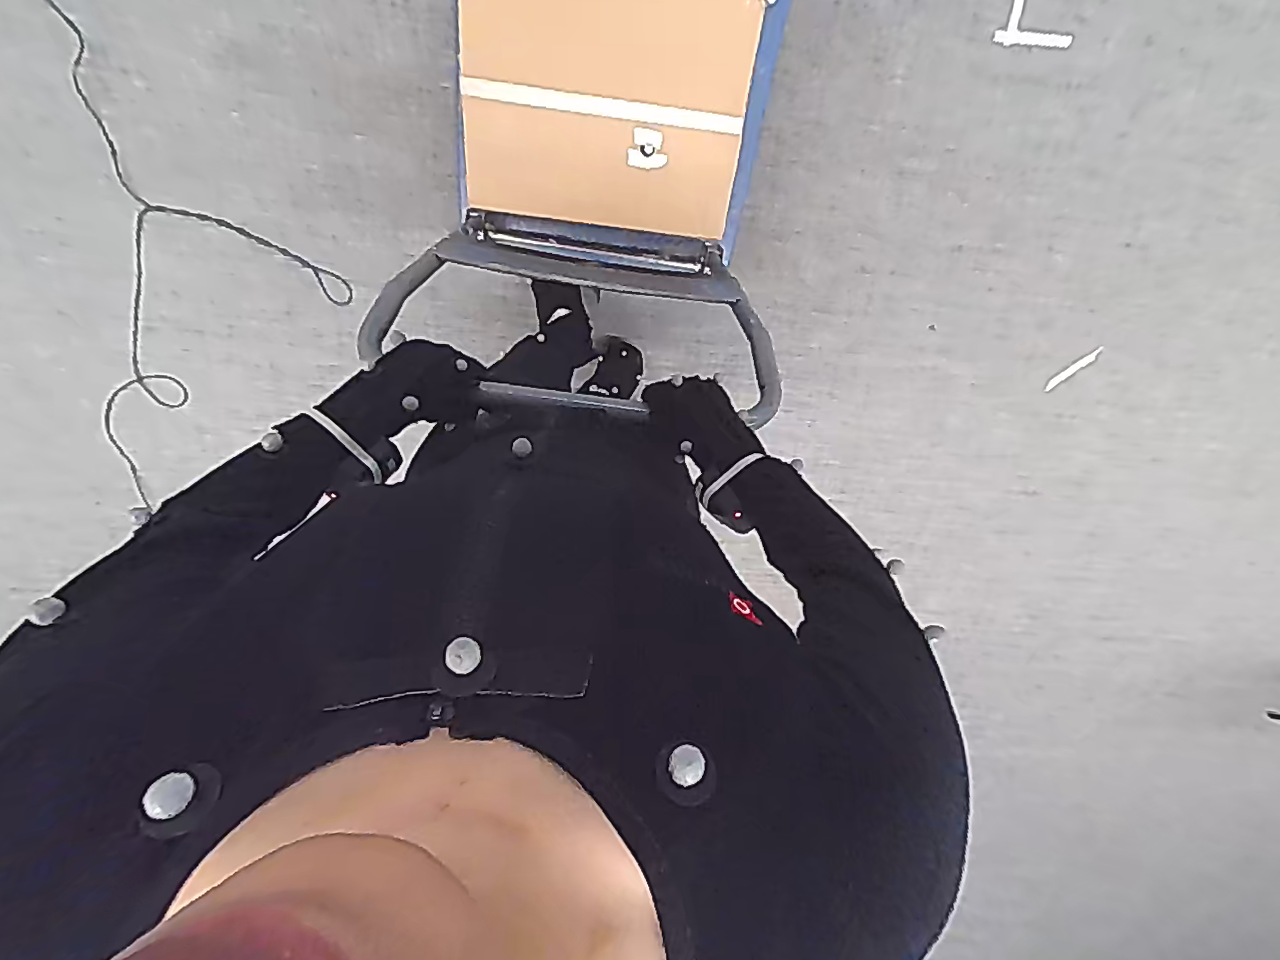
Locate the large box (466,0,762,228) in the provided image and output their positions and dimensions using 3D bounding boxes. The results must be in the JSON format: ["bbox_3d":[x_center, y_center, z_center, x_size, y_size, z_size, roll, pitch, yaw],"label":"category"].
[{"bbox_3d":[-0.053,-0.632,0.912,0.408,0.320,0.320,4,123,-6],"label":"large box"}]
